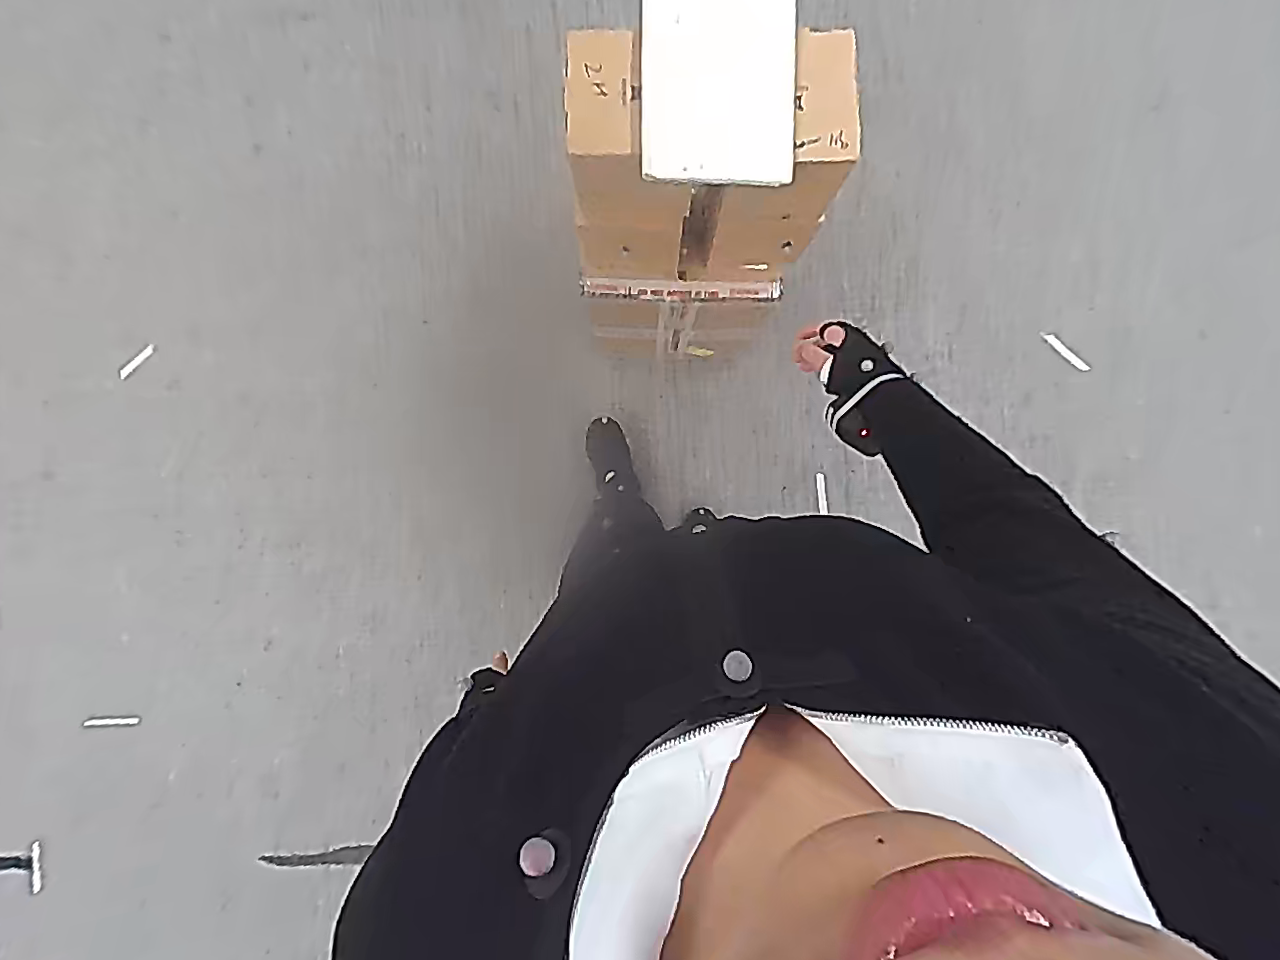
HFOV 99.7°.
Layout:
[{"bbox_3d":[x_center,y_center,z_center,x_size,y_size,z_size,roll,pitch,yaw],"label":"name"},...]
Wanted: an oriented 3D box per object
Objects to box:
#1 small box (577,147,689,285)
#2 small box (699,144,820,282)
[{"bbox_3d":[-0.009,-0.462,0.971,0.179,0.176,0.168,5,90,2],"label":"small box"},{"bbox_3d":[0.206,-0.468,0.970,0.179,0.176,0.168,-4,90,0],"label":"small box"}]
